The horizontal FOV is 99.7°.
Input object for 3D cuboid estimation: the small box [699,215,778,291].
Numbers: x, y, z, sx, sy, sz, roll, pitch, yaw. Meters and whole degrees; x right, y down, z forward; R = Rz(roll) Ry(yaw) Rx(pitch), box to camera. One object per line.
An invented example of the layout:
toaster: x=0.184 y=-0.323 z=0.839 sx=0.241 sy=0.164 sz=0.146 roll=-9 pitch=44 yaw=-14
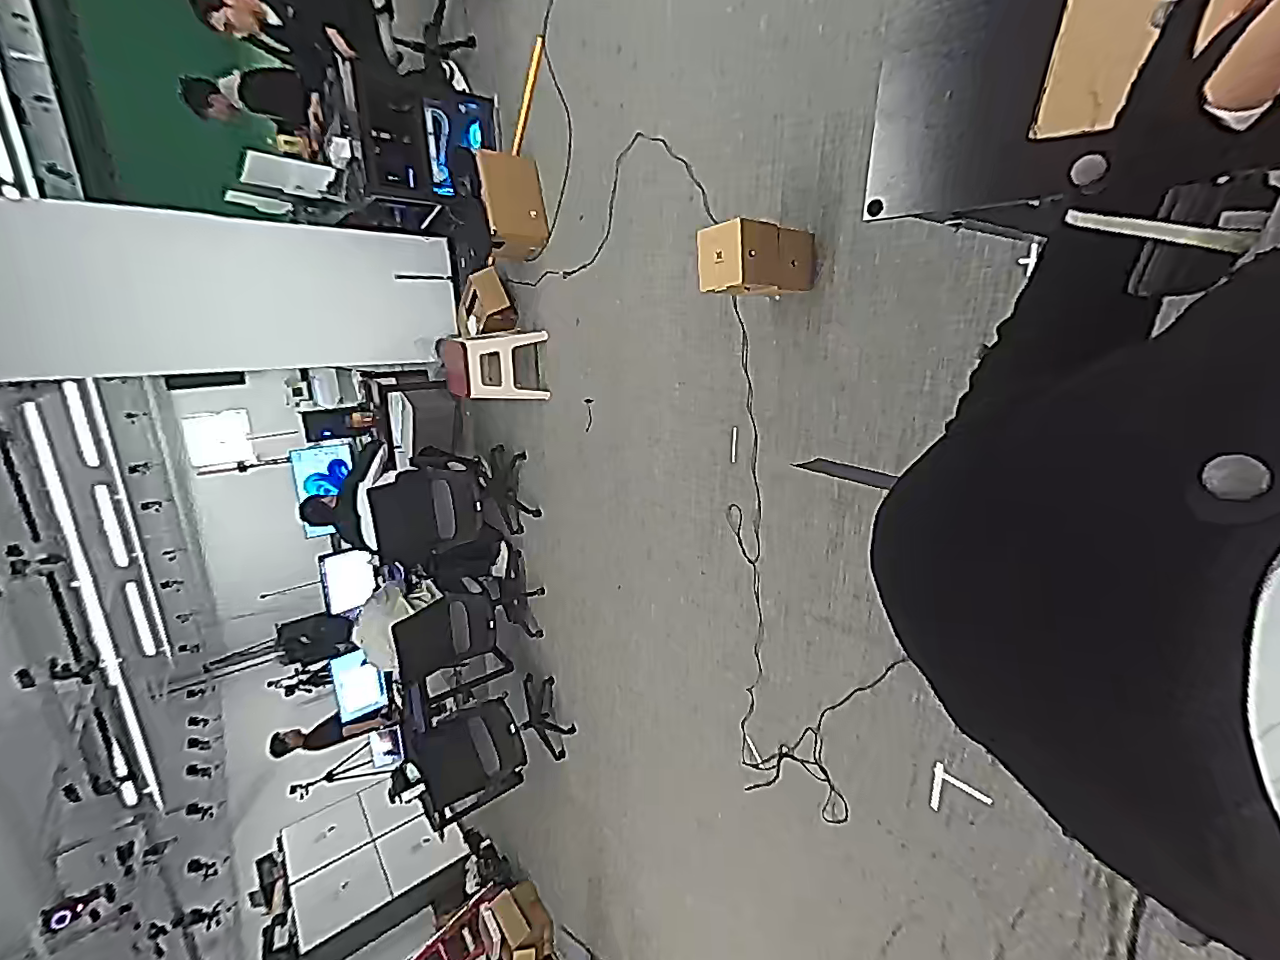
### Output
small box: x=0.290 y=-0.654 z=1.579 sx=0.168 sy=0.176 sz=0.179 roll=10 pitch=108 yaw=50

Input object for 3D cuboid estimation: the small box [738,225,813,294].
small box: x=0.419 y=-0.677 z=1.676 sx=0.168 sy=0.176 sz=0.179 roll=16 pitch=113 yaw=50
